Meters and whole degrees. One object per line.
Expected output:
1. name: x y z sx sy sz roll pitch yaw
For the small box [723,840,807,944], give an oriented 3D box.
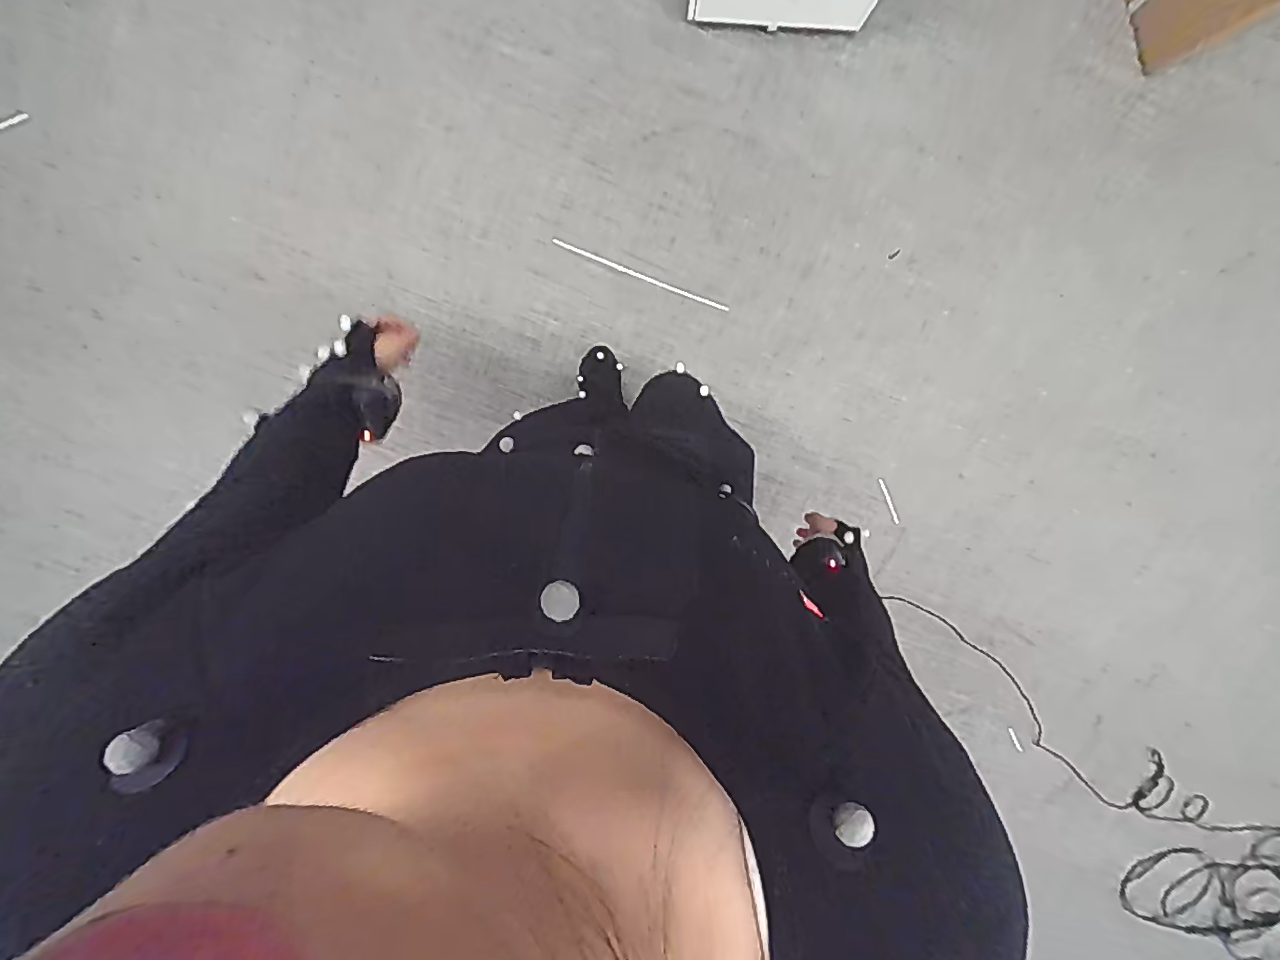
1. small box: 0.374 1.257 1.663 0.179 0.176 0.168 24 99 -6
